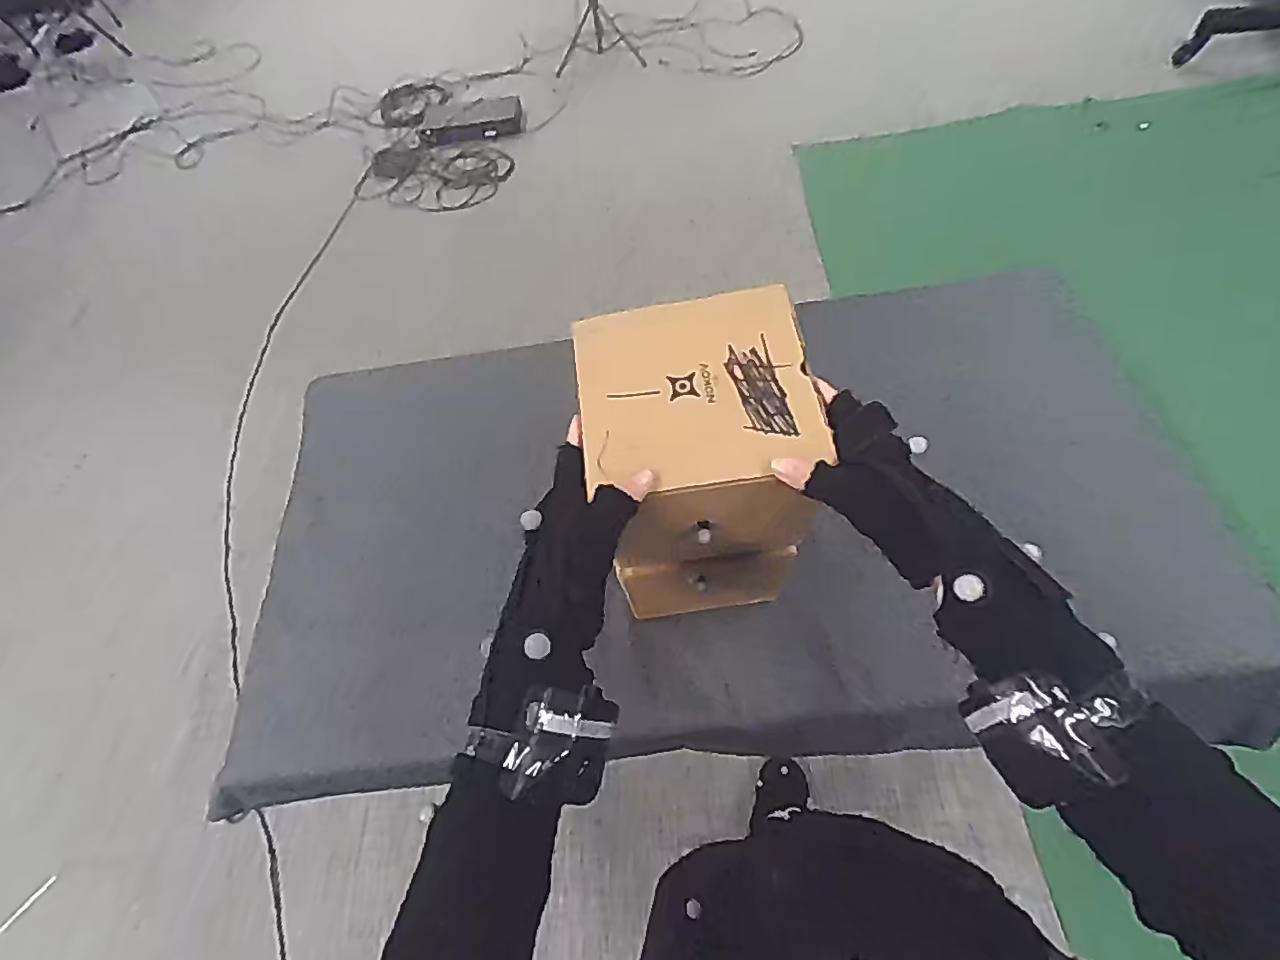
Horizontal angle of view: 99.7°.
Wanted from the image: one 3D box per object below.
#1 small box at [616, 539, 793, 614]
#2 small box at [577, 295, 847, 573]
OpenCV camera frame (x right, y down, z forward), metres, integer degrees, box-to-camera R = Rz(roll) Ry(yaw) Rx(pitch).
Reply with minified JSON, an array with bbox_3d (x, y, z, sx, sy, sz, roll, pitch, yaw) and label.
[{"bbox_3d":[0.065,0.051,0.632,0.179,0.176,0.168,-8,62,2],"label":"small box"},{"bbox_3d":[0.051,-0.029,0.475,0.179,0.176,0.168,-11,64,0],"label":"small box"}]
